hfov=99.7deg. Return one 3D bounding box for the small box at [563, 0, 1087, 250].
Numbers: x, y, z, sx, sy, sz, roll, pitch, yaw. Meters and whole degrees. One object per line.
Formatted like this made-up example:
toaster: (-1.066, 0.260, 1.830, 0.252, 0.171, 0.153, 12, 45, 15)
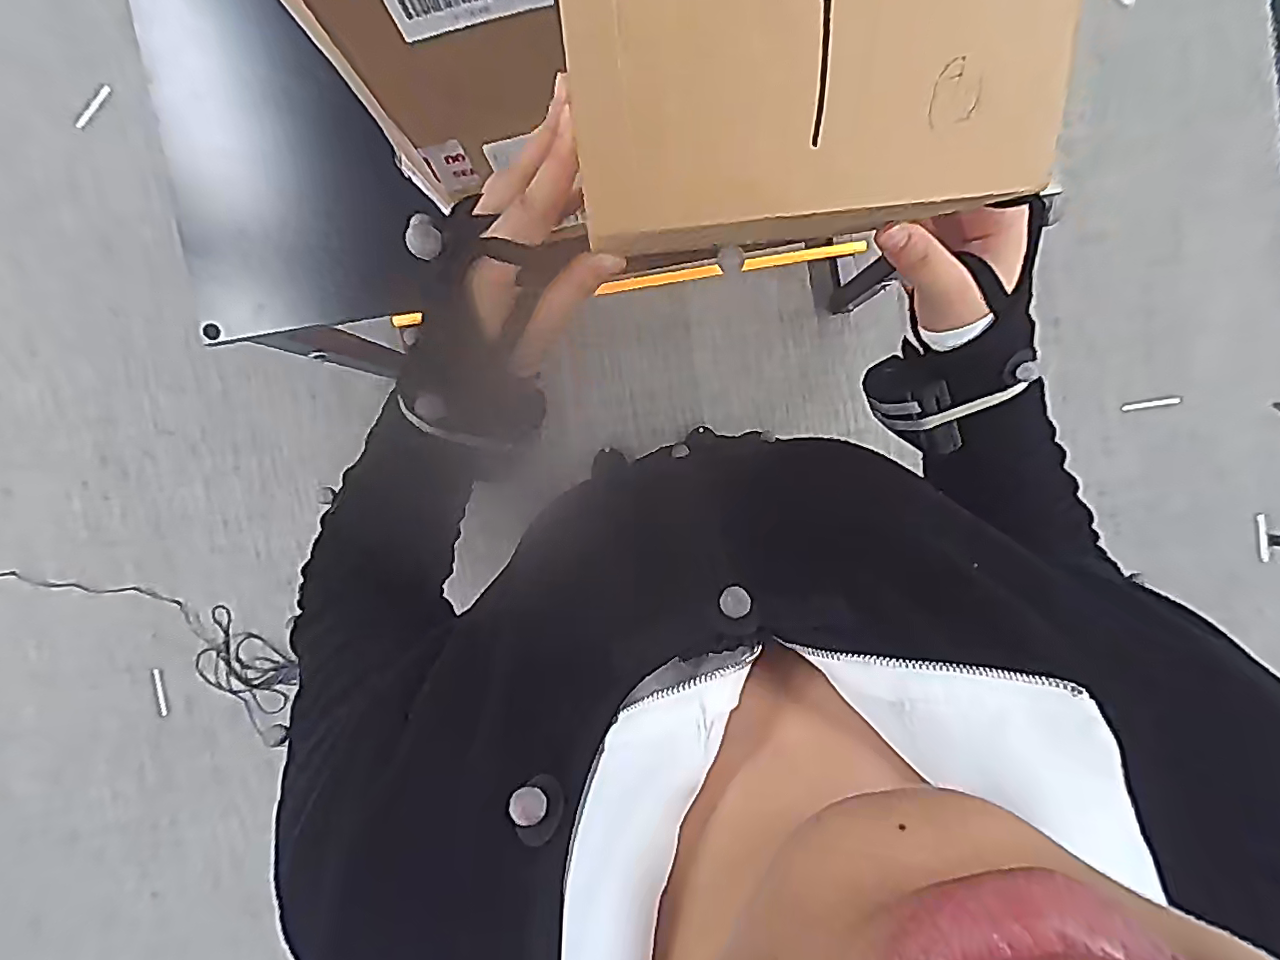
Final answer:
small box: (0.051, -0.204, 0.232, 0.168, 0.176, 0.179, -6, 111, -2)
